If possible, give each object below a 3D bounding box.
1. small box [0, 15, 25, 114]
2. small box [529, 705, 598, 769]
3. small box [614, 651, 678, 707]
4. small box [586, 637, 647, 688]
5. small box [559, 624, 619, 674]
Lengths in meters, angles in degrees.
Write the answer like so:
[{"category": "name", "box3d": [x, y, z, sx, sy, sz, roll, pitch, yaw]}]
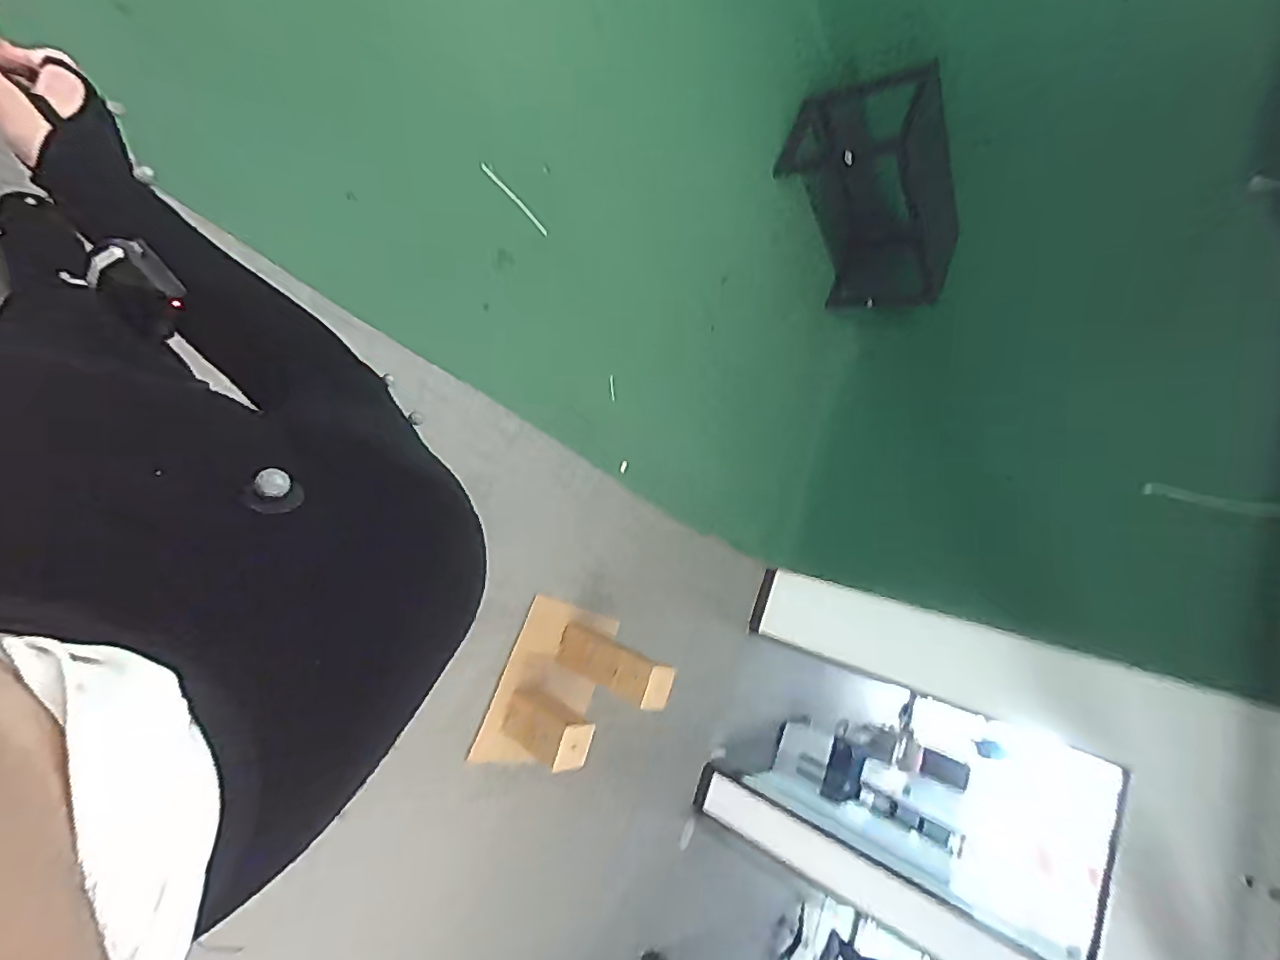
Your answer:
[{"category": "small box", "box3d": [-0.617, -0.397, 0.407, 0.168, 0.176, 0.179, -15, 124, -38]}, {"category": "small box", "box3d": [-0.300, 0.992, 2.099, 0.179, 0.176, 0.168, 25, 81, -50]}, {"category": "small box", "box3d": [0.020, 0.804, 2.189, 0.179, 0.176, 0.168, 30, 76, -50]}, {"category": "small box", "box3d": [-0.102, 0.774, 2.290, 0.179, 0.176, 0.168, 29, 76, -50]}, {"category": "small box", "box3d": [-0.227, 0.748, 2.393, 0.179, 0.176, 0.168, 24, 81, -50]}]
